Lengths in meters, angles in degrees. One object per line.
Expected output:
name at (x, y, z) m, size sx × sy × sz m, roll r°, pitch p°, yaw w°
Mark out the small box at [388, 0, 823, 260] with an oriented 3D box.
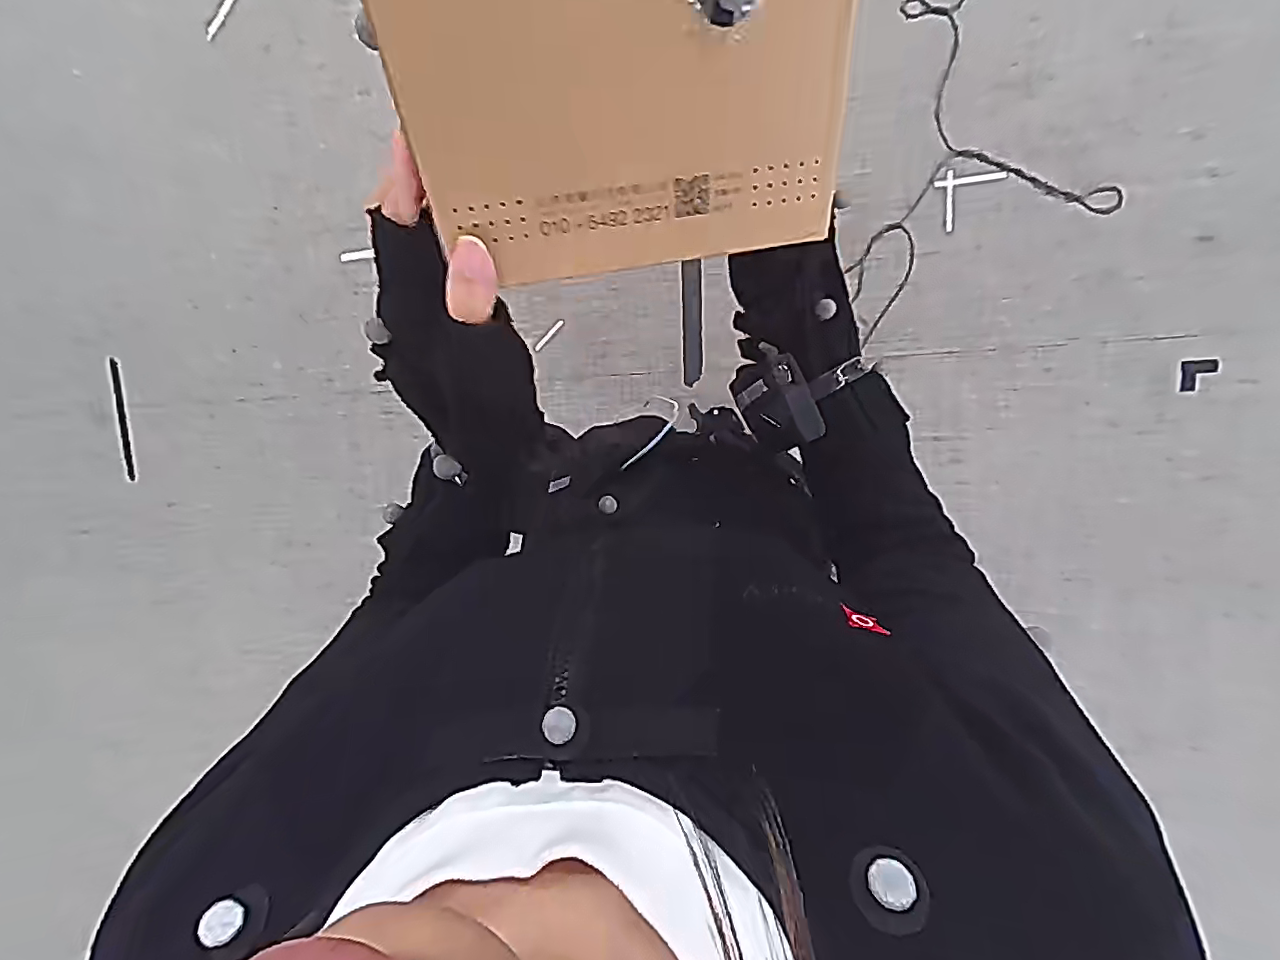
small box at (-0.015, -0.219, 0.266) m, size 0.168 × 0.179 × 0.176 m, roll -8°, pitch 130°, yaw -1°
